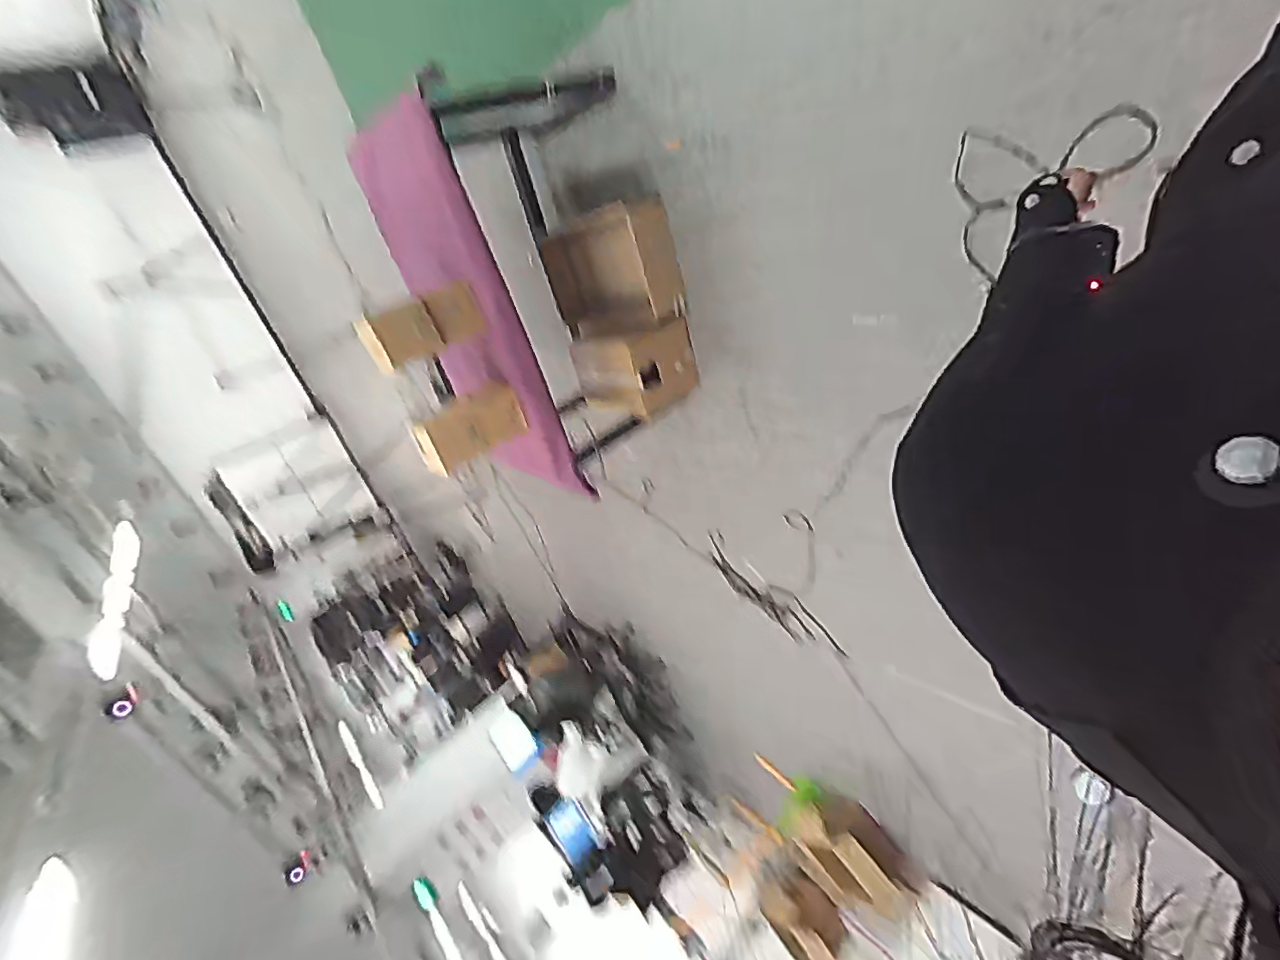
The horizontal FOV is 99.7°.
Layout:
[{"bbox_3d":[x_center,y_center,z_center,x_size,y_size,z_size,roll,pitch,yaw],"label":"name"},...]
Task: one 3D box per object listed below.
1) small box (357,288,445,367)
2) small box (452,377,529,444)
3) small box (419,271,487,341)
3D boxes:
[{"bbox_3d":[-0.712,-0.454,1.617,0.179,0.176,0.168,5,125,53],"label":"small box"},{"bbox_3d":[-0.515,-0.248,1.880,0.179,0.176,0.168,18,134,45],"label":"small box"},{"bbox_3d":[-0.611,-0.547,1.712,0.179,0.176,0.168,13,130,50],"label":"small box"}]
